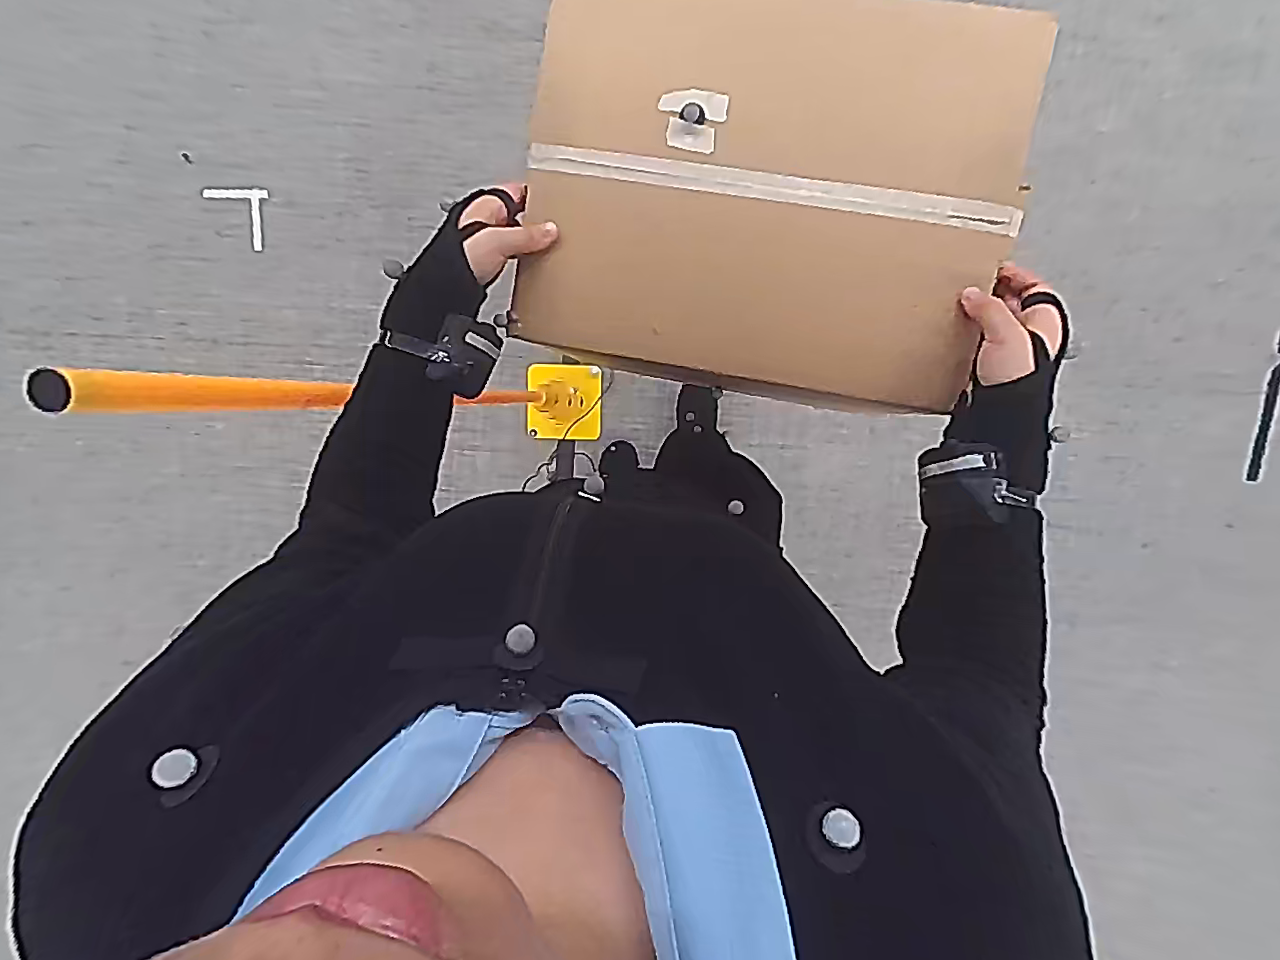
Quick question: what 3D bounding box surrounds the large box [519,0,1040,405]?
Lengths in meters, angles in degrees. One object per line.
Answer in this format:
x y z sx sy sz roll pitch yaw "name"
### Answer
0.123 -0.267 0.616 0.408 0.320 0.320 11 97 7 "large box"
